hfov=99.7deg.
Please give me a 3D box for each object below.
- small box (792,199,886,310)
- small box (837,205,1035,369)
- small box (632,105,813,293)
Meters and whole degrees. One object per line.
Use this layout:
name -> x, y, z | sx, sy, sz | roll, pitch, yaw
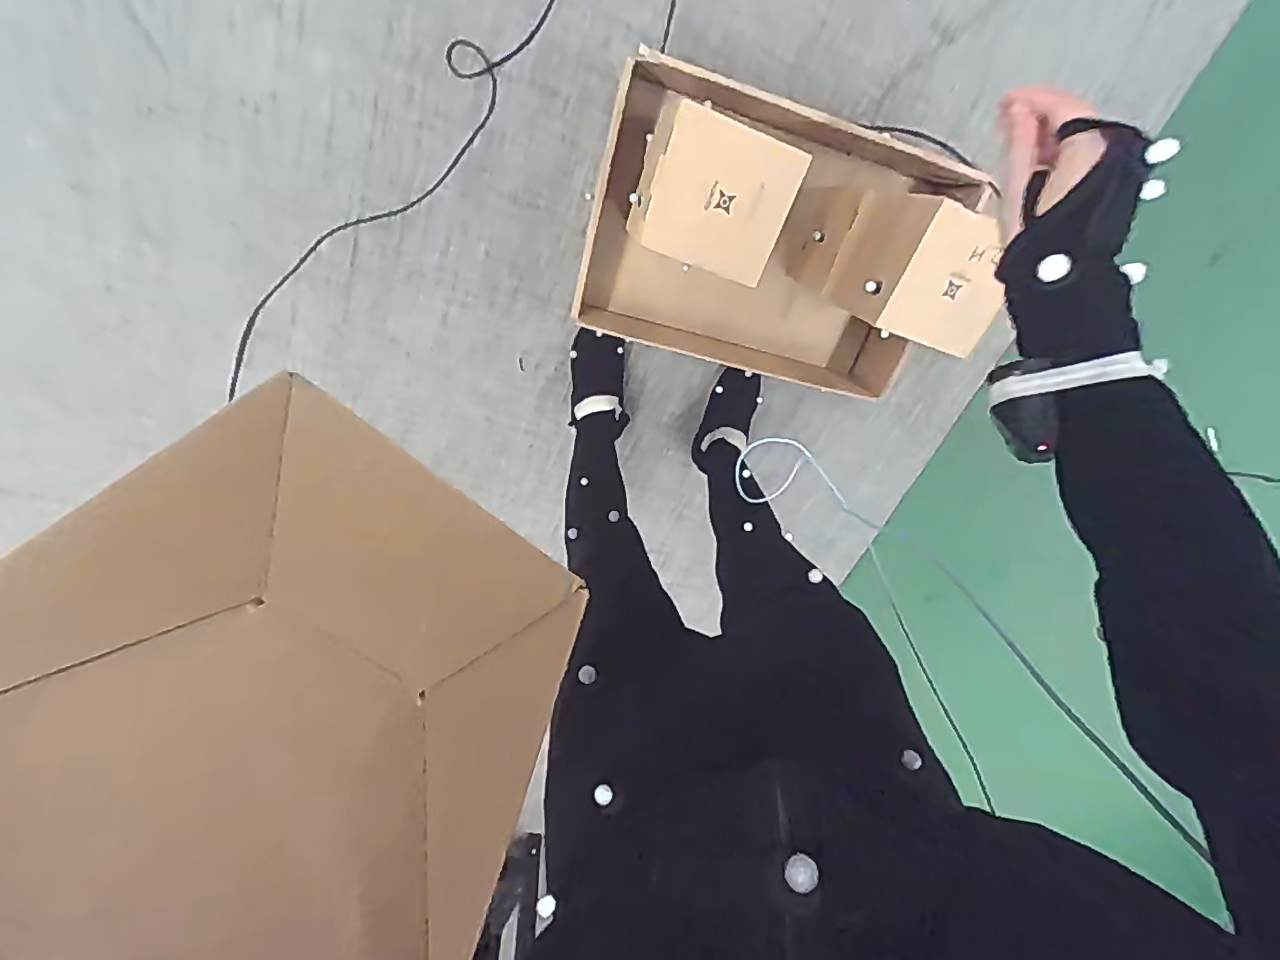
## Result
small box -> 0.400, -0.382, 0.961 | 0.179, 0.176, 0.168 | 16, 116, -14
small box -> 0.428, -0.297, 0.822 | 0.168, 0.176, 0.179 | 15, 116, -15
small box -> 0.097, -0.379, 0.744 | 0.179, 0.176, 0.168 | 16, 117, -15
